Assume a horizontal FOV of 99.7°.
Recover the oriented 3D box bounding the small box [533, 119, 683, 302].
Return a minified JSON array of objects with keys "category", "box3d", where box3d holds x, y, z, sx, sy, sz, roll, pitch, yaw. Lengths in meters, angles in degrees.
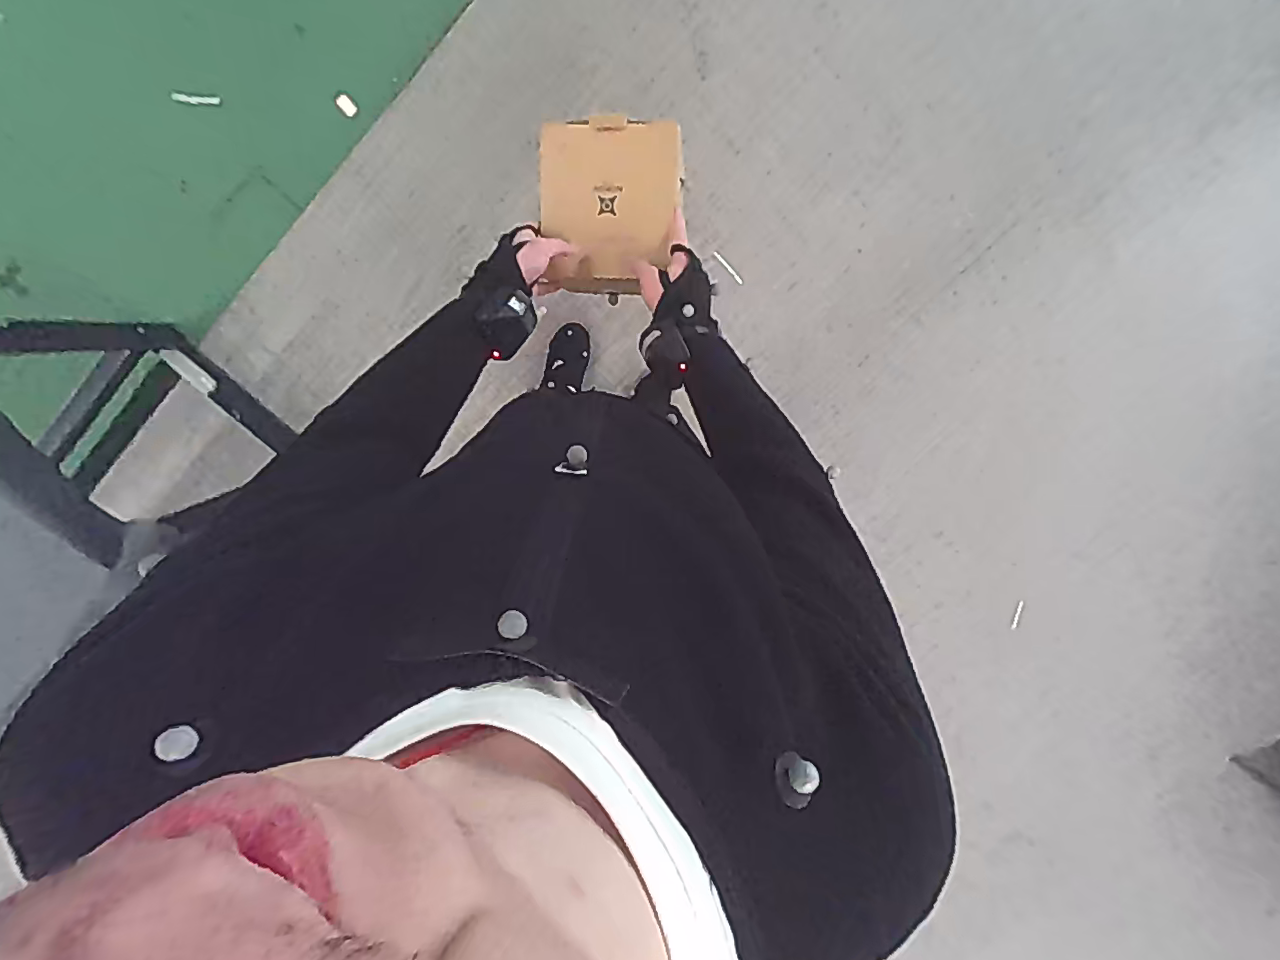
[{"category":"small box","box3d":[-0.034,-0.340,0.711,0.168,0.176,0.179,5,103,6]}]
